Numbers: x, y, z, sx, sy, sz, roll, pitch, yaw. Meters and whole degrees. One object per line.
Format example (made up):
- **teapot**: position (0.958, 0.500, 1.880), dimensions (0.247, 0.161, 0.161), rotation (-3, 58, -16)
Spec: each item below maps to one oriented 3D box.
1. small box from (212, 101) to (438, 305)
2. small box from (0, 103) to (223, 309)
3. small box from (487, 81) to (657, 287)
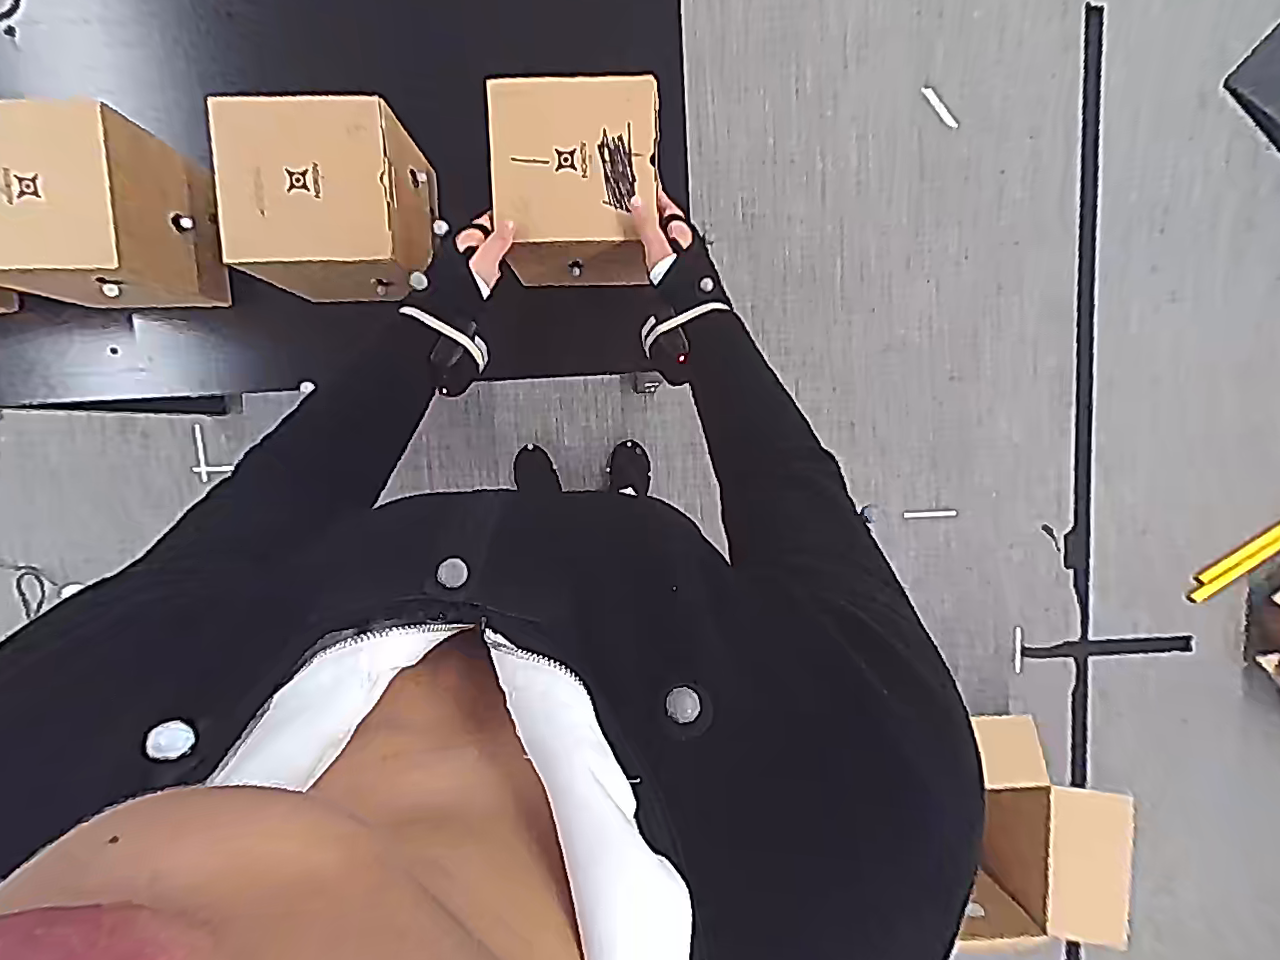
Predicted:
- **small box**: position (-0.350, -0.312, 0.639), dimensions (0.179, 0.176, 0.168), rotation (-3, 94, -1)
- **small box**: position (-0.623, -0.301, 0.626), dimensions (0.179, 0.176, 0.168), rotation (-2, 95, -2)
- **small box**: position (-0.072, -0.336, 0.645), dimensions (0.179, 0.176, 0.168), rotation (-1, 94, -1)
